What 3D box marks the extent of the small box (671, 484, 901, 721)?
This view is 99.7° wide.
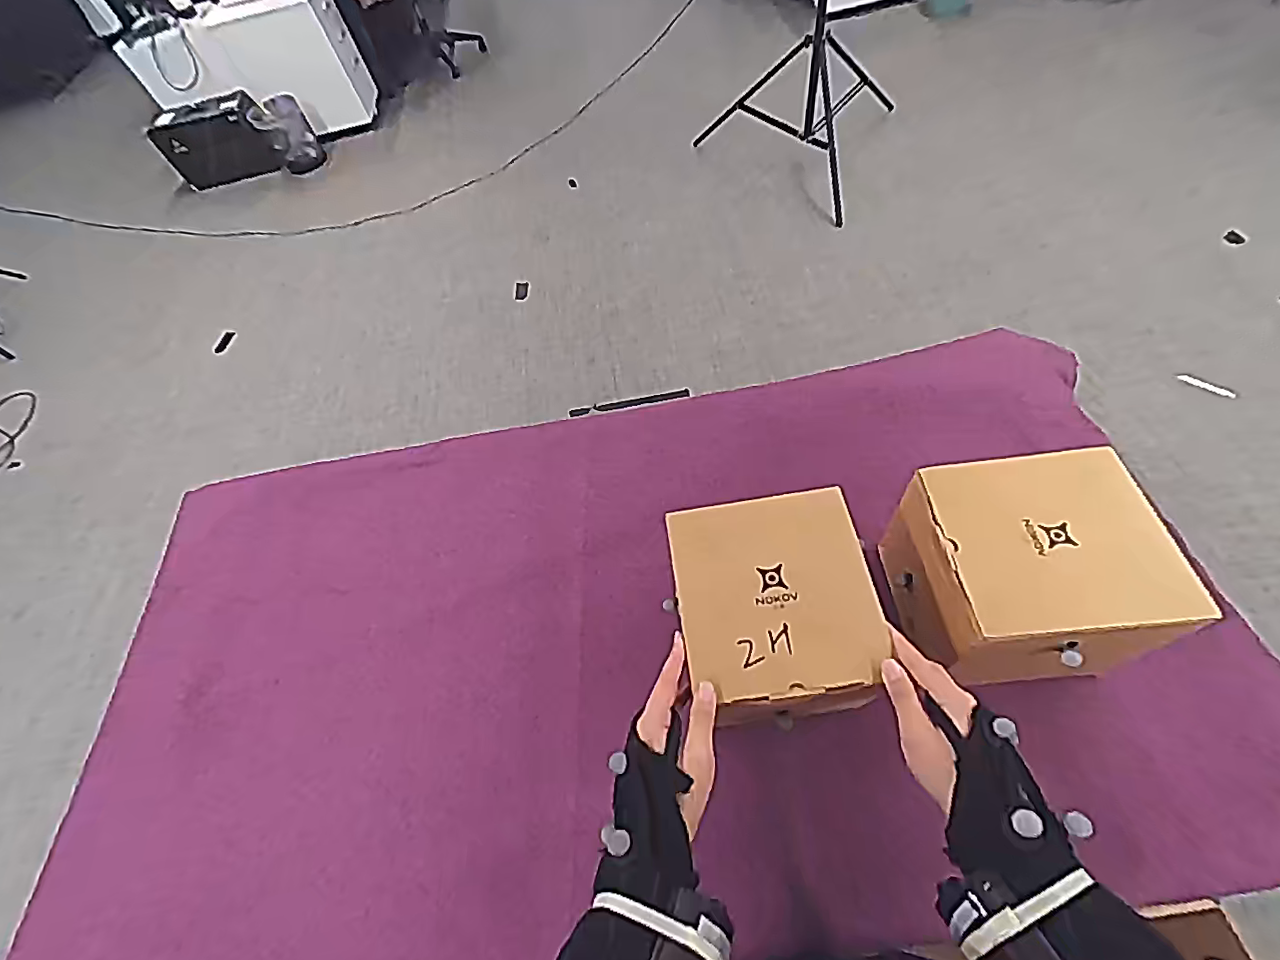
[{"bbox_3d":[0.126,0.128,0.536,0.168,0.176,0.179,-9,60,4],"label":"small box"}]

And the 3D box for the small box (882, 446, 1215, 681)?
[{"bbox_3d":[0.363,0.089,0.529,0.179,0.176,0.168,-7,56,6],"label":"small box"}]
